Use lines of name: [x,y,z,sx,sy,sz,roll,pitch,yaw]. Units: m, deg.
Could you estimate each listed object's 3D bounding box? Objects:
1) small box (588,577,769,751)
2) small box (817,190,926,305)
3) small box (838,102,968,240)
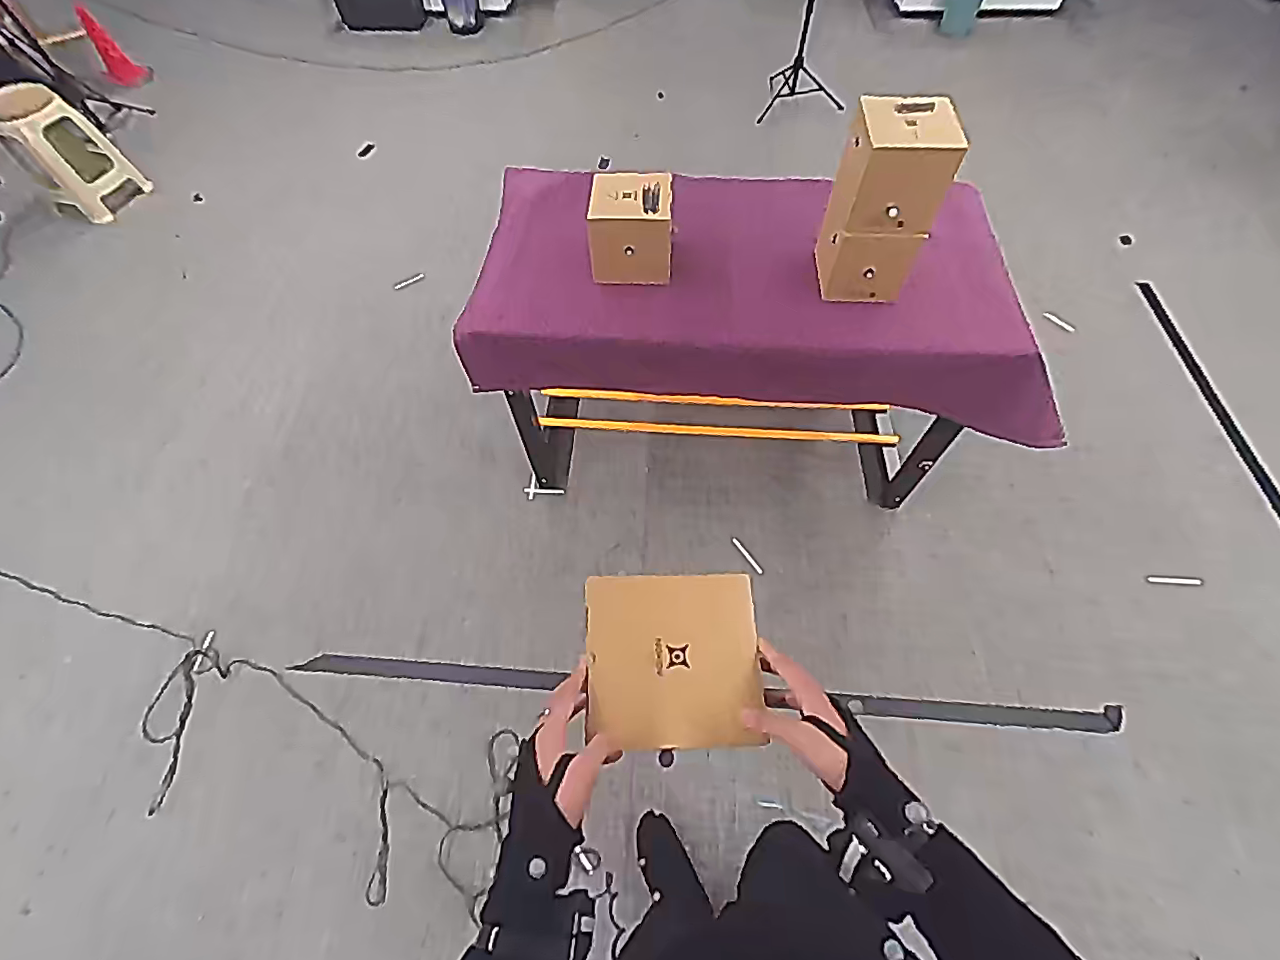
small box: [0.032,0.210,0.614,0.179,0.176,0.168,-1,66,-2]
small box: [0.496,-0.504,1.183,0.168,0.176,0.179,3,60,3]
small box: [0.494,-0.595,1.046,0.168,0.176,0.179,3,60,4]
